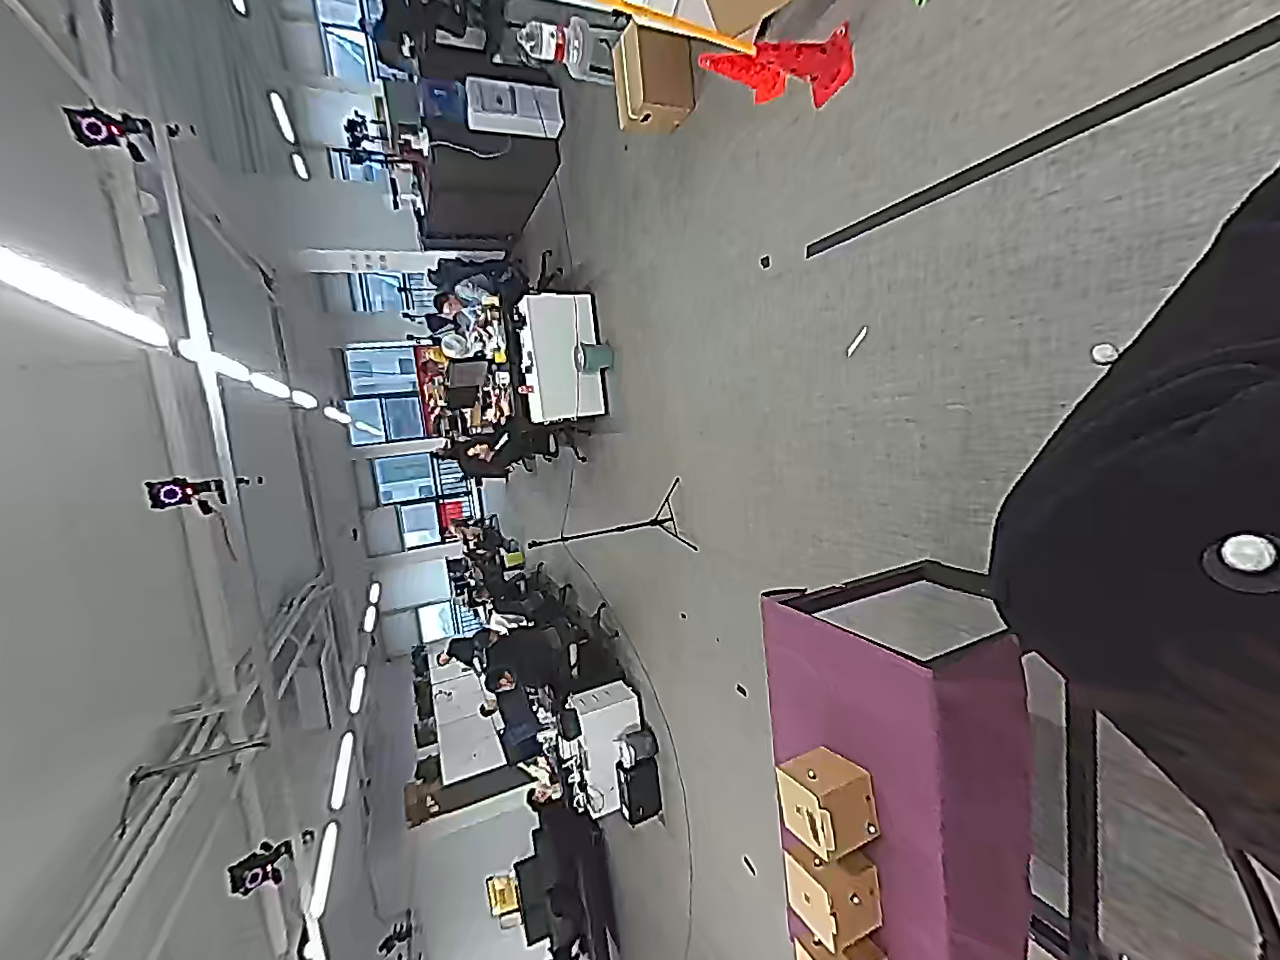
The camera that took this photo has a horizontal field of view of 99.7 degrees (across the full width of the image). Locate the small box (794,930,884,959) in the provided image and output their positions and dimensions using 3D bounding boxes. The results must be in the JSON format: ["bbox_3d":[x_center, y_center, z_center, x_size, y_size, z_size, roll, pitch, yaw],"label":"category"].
[{"bbox_3d":[0.543,1.334,1.453,0.179,0.176,0.168,179,82,-67],"label":"small box"}]

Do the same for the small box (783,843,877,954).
[{"bbox_3d":[0.511,1.086,1.444,0.179,0.176,0.168,-177,79,-67],"label":"small box"}]

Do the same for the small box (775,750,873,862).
[{"bbox_3d":[0.484,0.837,1.410,0.179,0.176,0.168,169,92,-68],"label":"small box"}]
